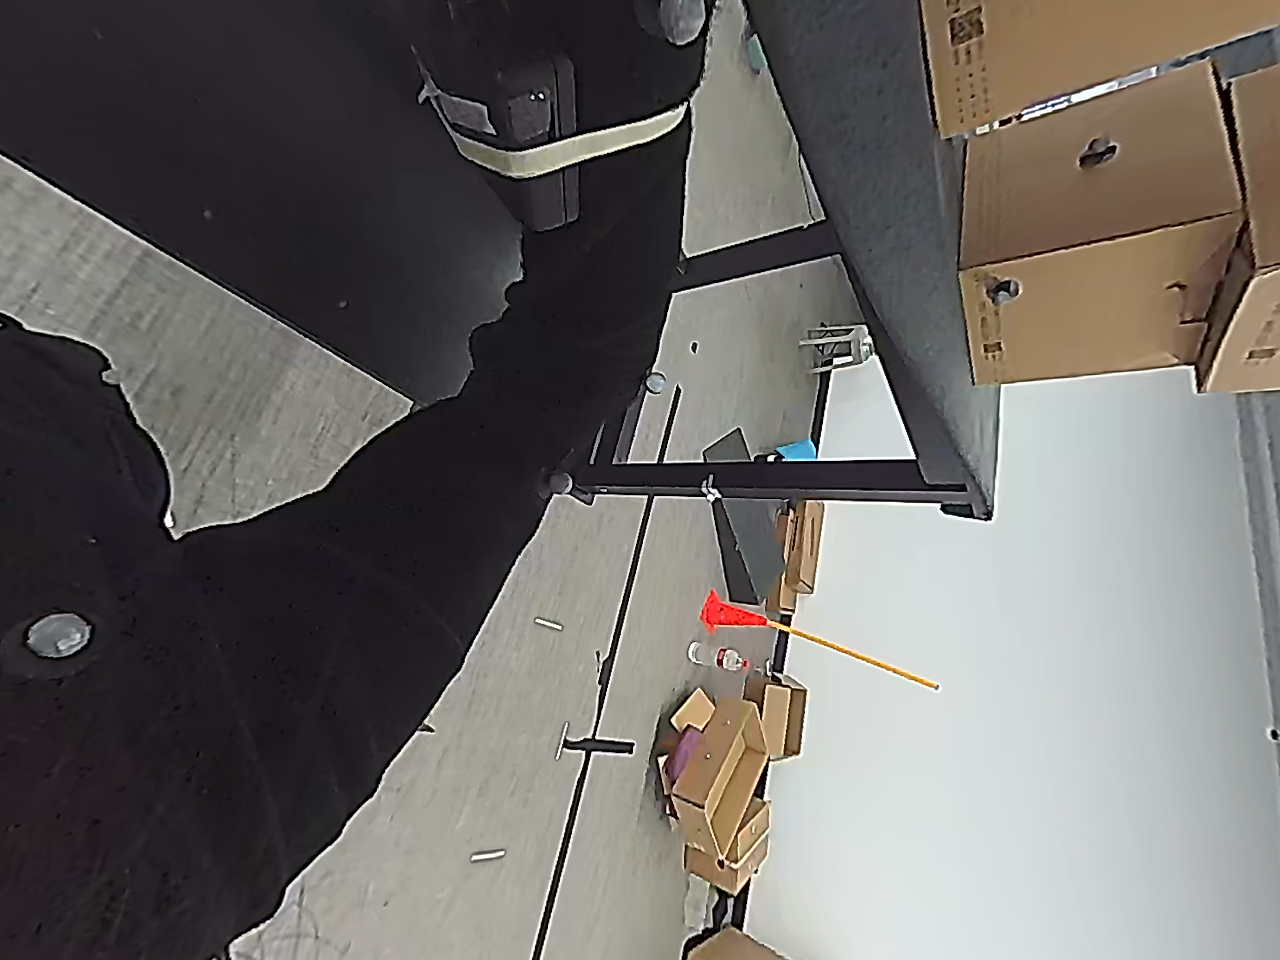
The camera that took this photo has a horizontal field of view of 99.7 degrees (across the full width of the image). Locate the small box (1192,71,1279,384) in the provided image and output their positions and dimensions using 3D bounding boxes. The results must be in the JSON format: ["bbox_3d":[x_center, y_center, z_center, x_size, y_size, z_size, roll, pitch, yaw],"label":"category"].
[{"bbox_3d":[0.521,-0.184,0.388,0.168,0.176,0.179,35,62,-50],"label":"small box"}]

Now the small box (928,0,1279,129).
[{"bbox_3d":[0.238,-0.328,0.267,0.168,0.176,0.179,38,58,-47],"label":"small box"}]

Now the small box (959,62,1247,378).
[{"bbox_3d":[0.397,-0.213,0.493,0.168,0.176,0.179,42,56,-46],"label":"small box"}]
